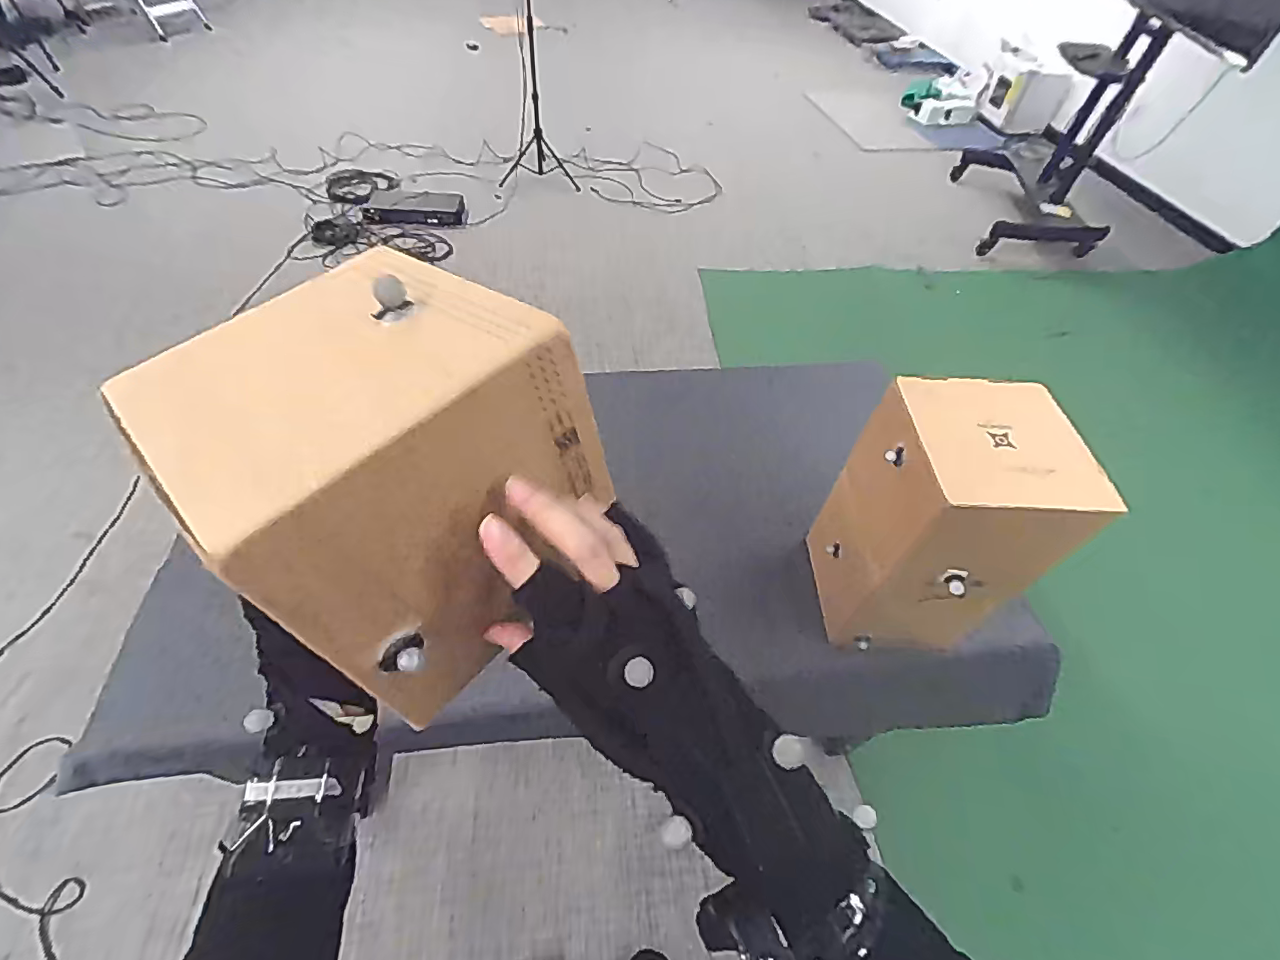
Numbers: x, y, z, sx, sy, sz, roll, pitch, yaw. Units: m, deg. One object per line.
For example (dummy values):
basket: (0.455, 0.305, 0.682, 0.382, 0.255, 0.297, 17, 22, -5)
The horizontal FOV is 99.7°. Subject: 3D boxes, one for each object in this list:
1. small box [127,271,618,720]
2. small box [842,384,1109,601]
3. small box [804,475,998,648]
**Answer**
small box: (-0.138, -0.004, 0.326, 0.179, 0.168, 0.176, 31, 59, 31)
small box: (0.346, 0.016, 0.606, 0.168, 0.176, 0.179, 2, 52, -1)
small box: (0.338, 0.114, 0.734, 0.168, 0.176, 0.179, 3, 50, -2)
